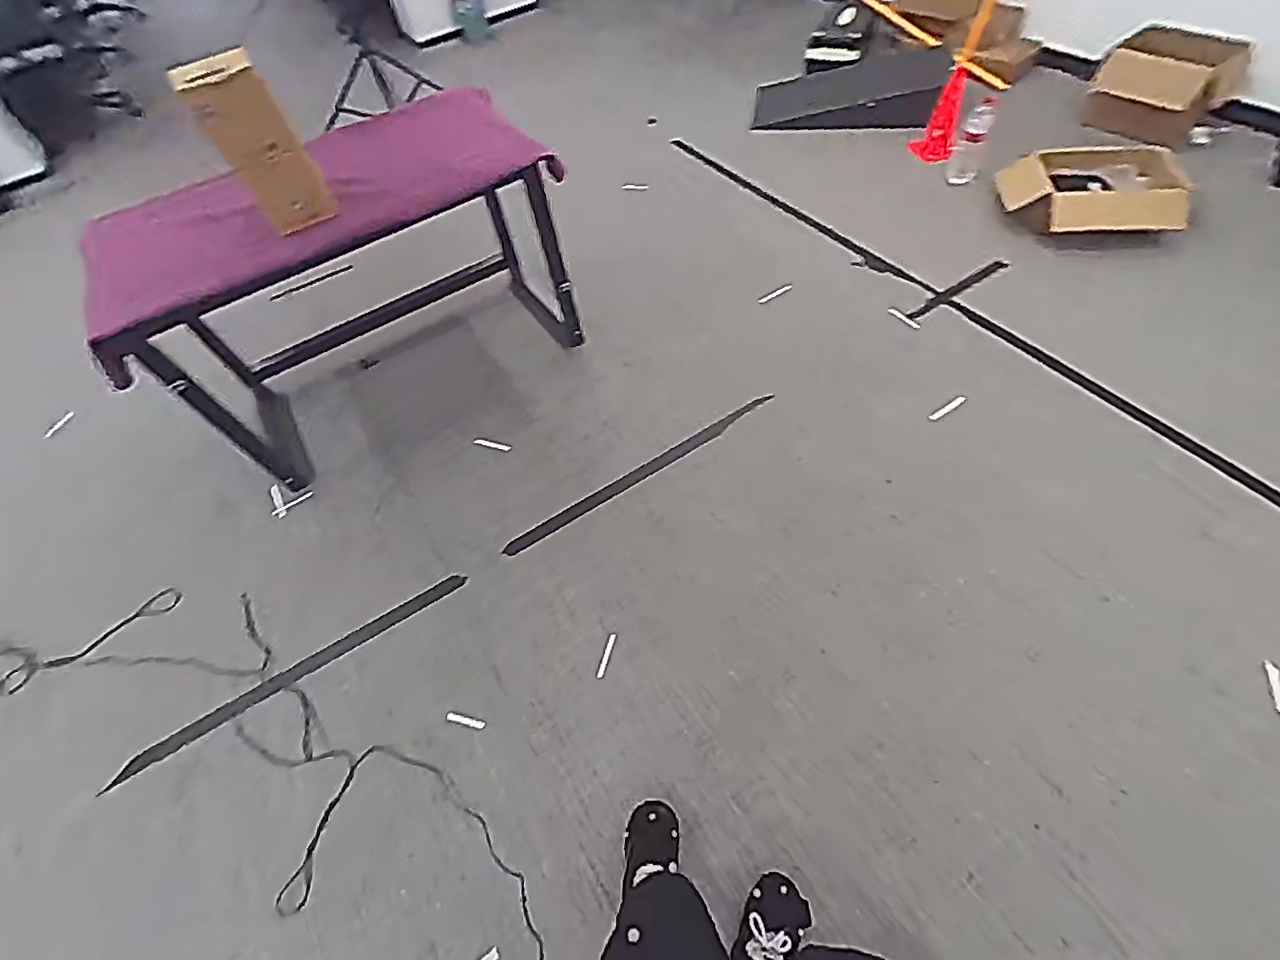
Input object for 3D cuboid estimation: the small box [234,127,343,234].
[{"bbox_3d":[-0.911,-0.777,1.408,0.168,0.176,0.179,-29,57,-11],"label":"small box"}]
